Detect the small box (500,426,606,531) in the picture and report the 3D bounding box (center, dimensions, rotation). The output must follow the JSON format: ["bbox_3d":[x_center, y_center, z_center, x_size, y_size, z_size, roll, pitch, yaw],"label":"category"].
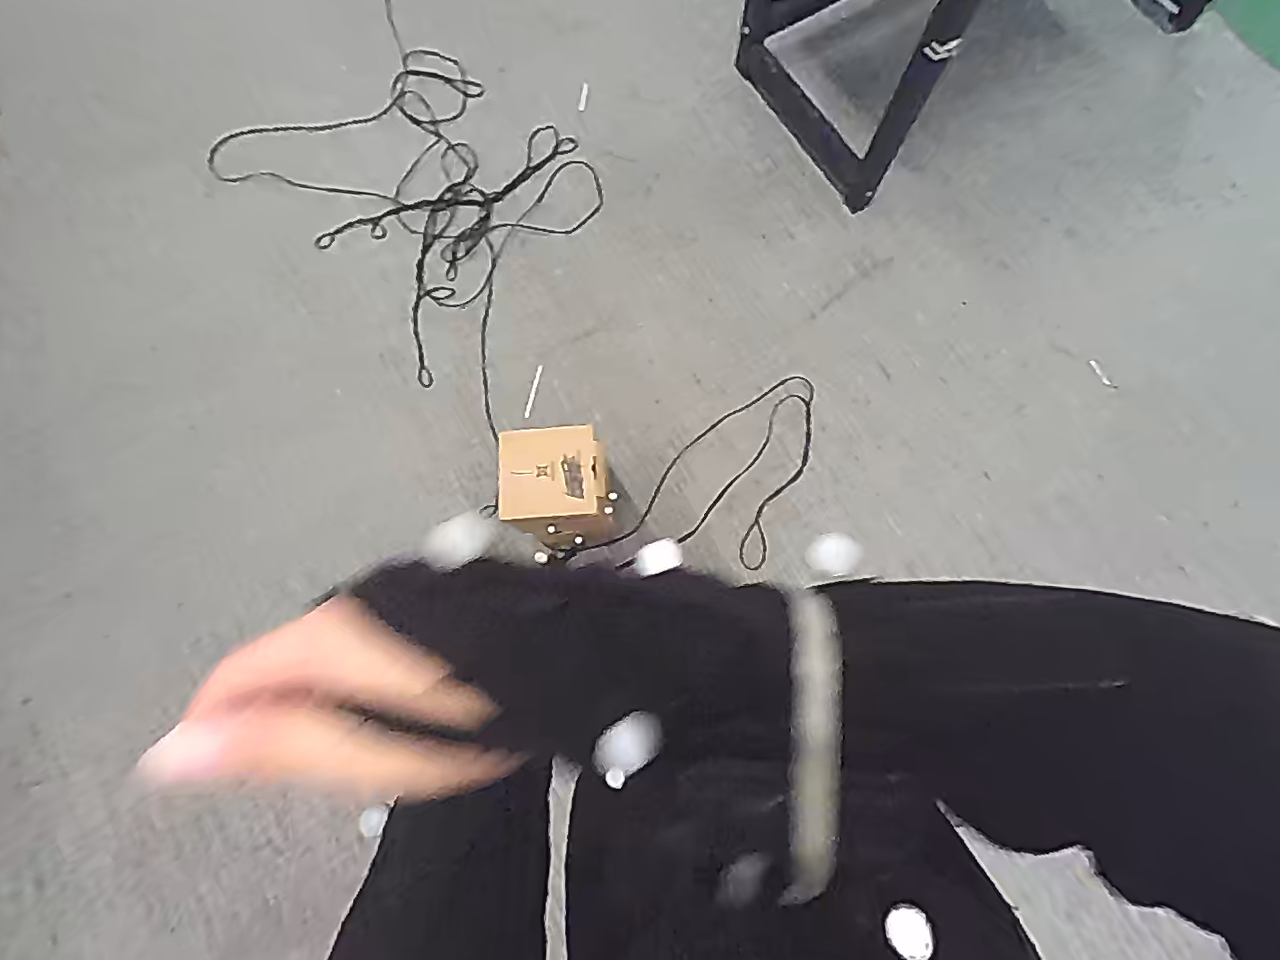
[{"bbox_3d":[-0.158,0.003,1.034,0.179,0.176,0.168,-4,76,2],"label":"small box"}]

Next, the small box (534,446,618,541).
[{"bbox_3d":[-0.144,0.036,1.196,0.168,0.176,0.179,-8,77,0],"label":"small box"}]
